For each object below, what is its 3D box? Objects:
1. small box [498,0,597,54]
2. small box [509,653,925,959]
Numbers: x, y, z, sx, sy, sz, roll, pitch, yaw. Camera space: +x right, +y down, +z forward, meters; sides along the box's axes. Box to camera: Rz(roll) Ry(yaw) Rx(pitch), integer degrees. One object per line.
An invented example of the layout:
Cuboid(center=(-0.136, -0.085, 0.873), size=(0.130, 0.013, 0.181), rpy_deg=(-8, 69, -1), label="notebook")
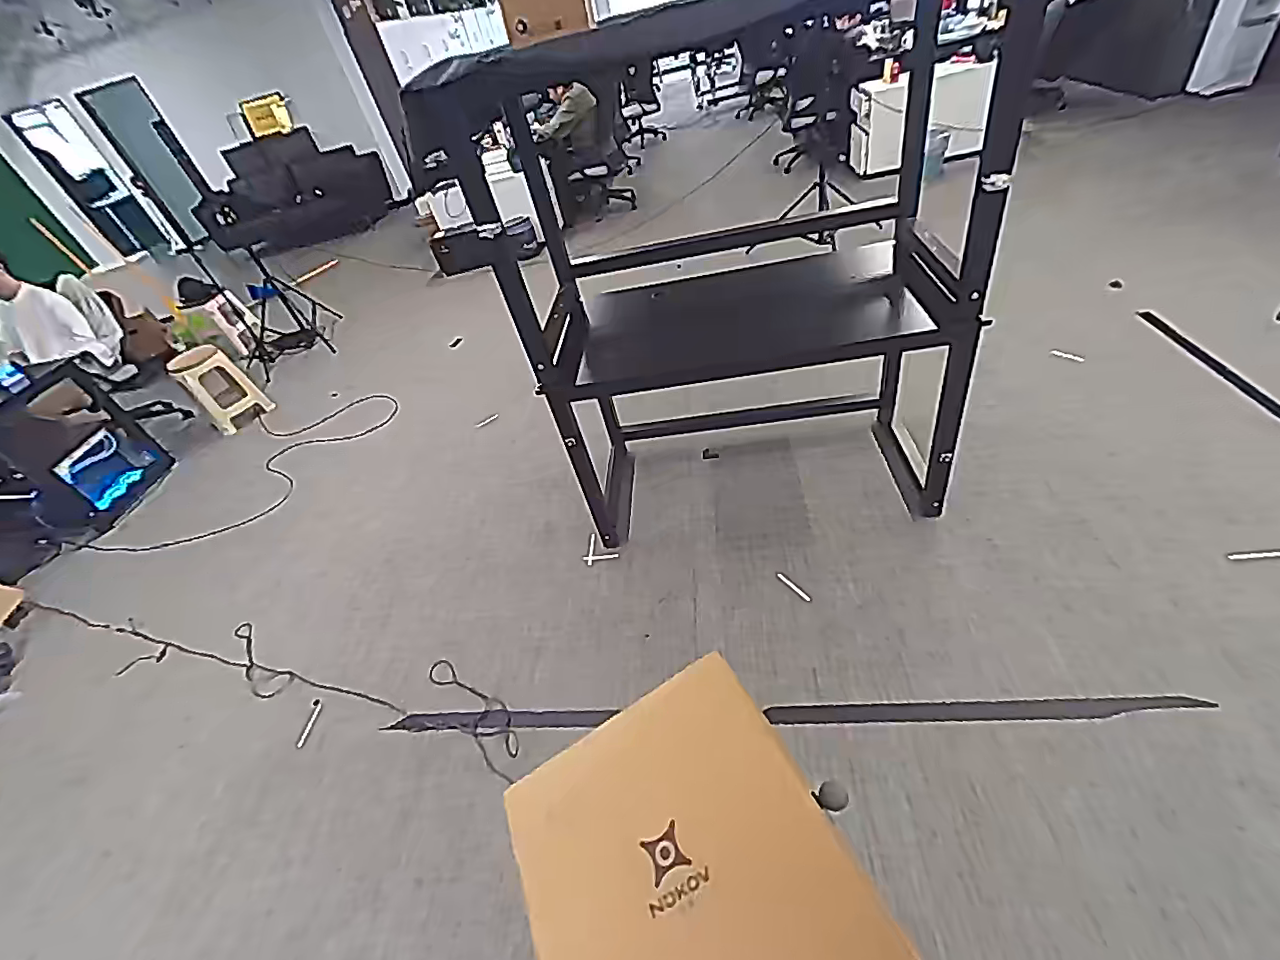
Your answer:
Cuboid(center=(-0.188, -0.968, 1.072), size=(0.168, 0.176, 0.179), rpy_deg=(-8, 39, 8), label="small box")
Cuboid(center=(0.047, 0.252, 0.338), size=(0.168, 0.176, 0.179), rpy_deg=(-33, 43, -3), label="small box")
